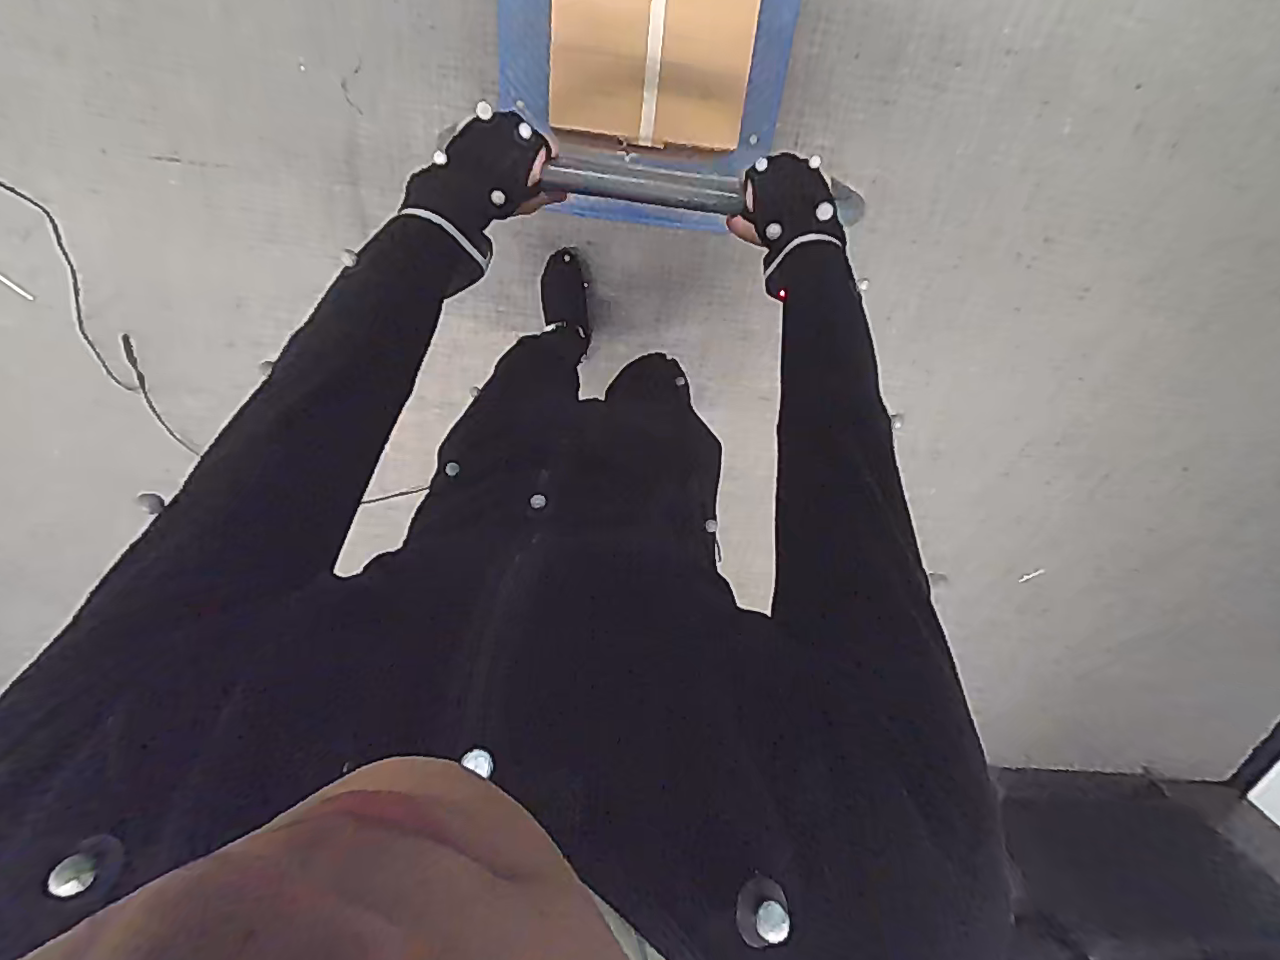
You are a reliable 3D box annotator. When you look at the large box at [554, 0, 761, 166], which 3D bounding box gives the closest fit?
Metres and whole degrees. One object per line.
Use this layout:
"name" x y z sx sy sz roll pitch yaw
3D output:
"large box" 0.027 -0.798 0.937 0.320 0.320 0.408 4 115 -5
